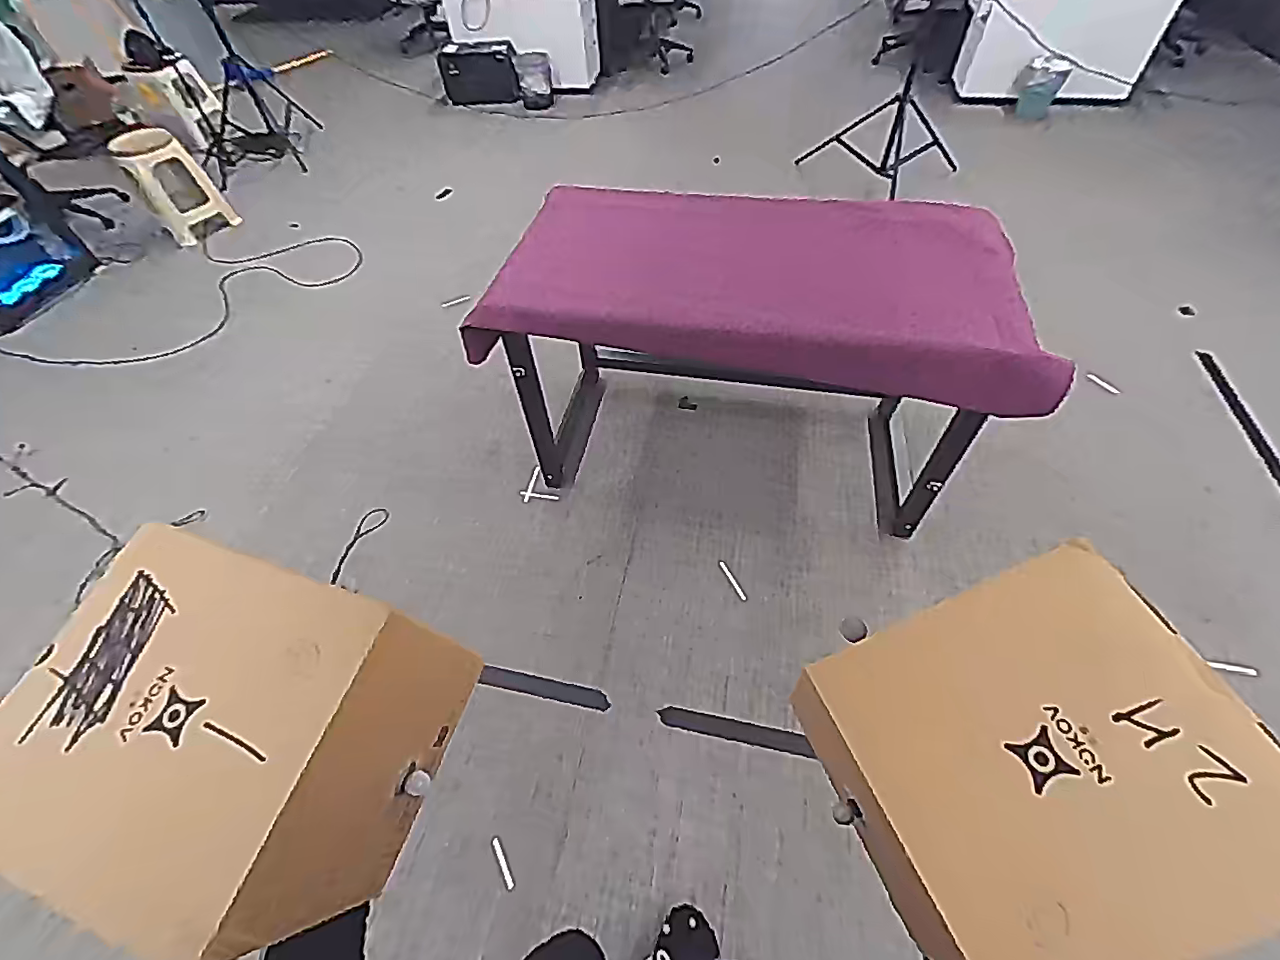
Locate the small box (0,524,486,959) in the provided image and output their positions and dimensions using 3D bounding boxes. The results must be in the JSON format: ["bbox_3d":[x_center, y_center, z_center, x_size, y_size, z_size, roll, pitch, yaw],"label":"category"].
[{"bbox_3d":[-0.230,0.154,0.348,0.179,0.176,0.168,16,65,10],"label":"small box"}]

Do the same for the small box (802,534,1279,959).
[{"bbox_3d":[0.215,0.165,0.331,0.179,0.176,0.168,-25,61,-2],"label":"small box"}]
